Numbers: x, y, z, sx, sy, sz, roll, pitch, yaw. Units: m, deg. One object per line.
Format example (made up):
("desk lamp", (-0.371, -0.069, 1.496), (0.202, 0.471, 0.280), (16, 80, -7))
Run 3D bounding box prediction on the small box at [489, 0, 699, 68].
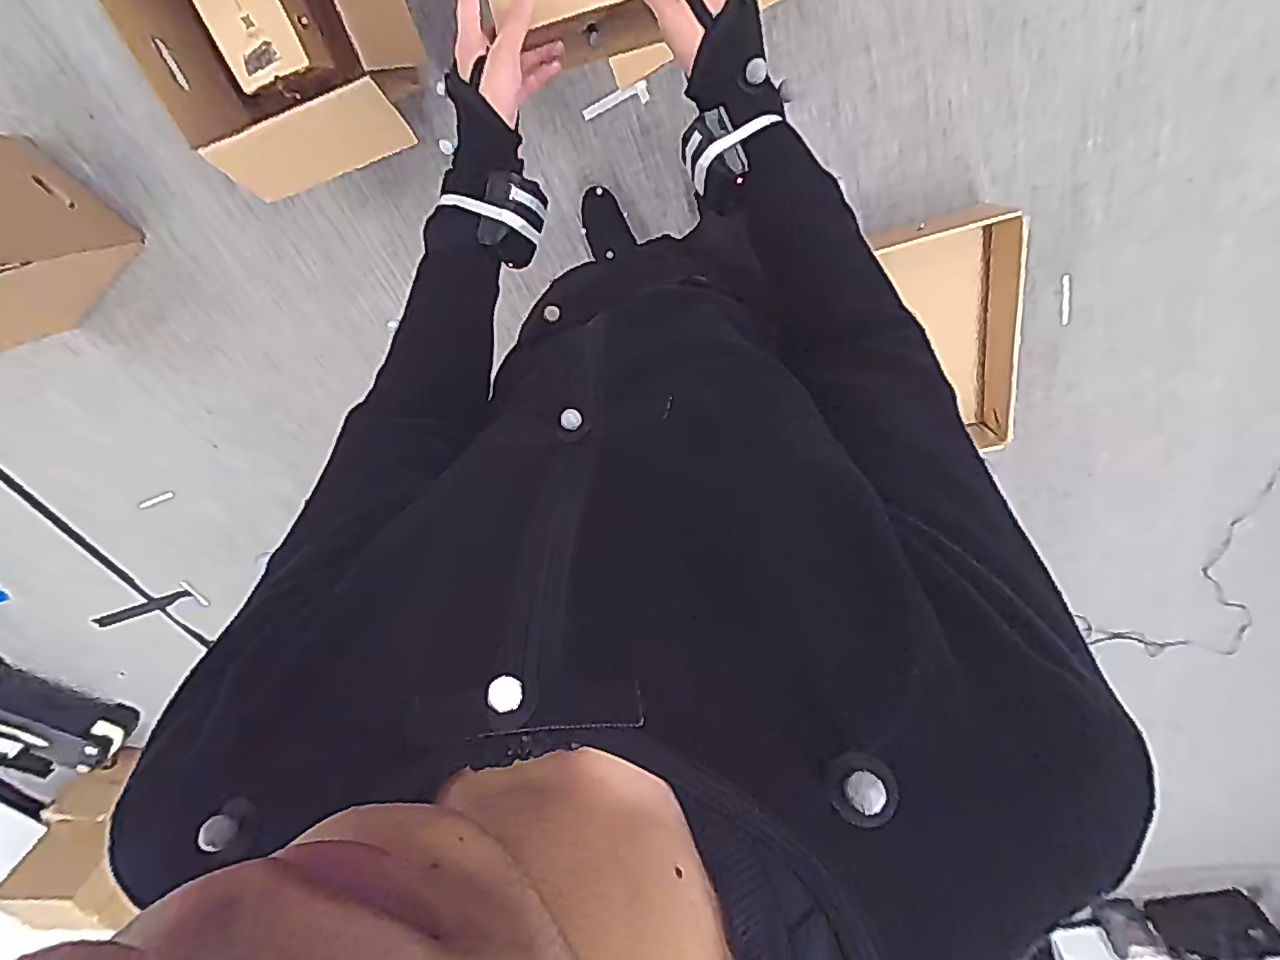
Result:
("small box", (-0.043, -0.492, 0.475), (0.179, 0.176, 0.168), (-8, 117, 9))
